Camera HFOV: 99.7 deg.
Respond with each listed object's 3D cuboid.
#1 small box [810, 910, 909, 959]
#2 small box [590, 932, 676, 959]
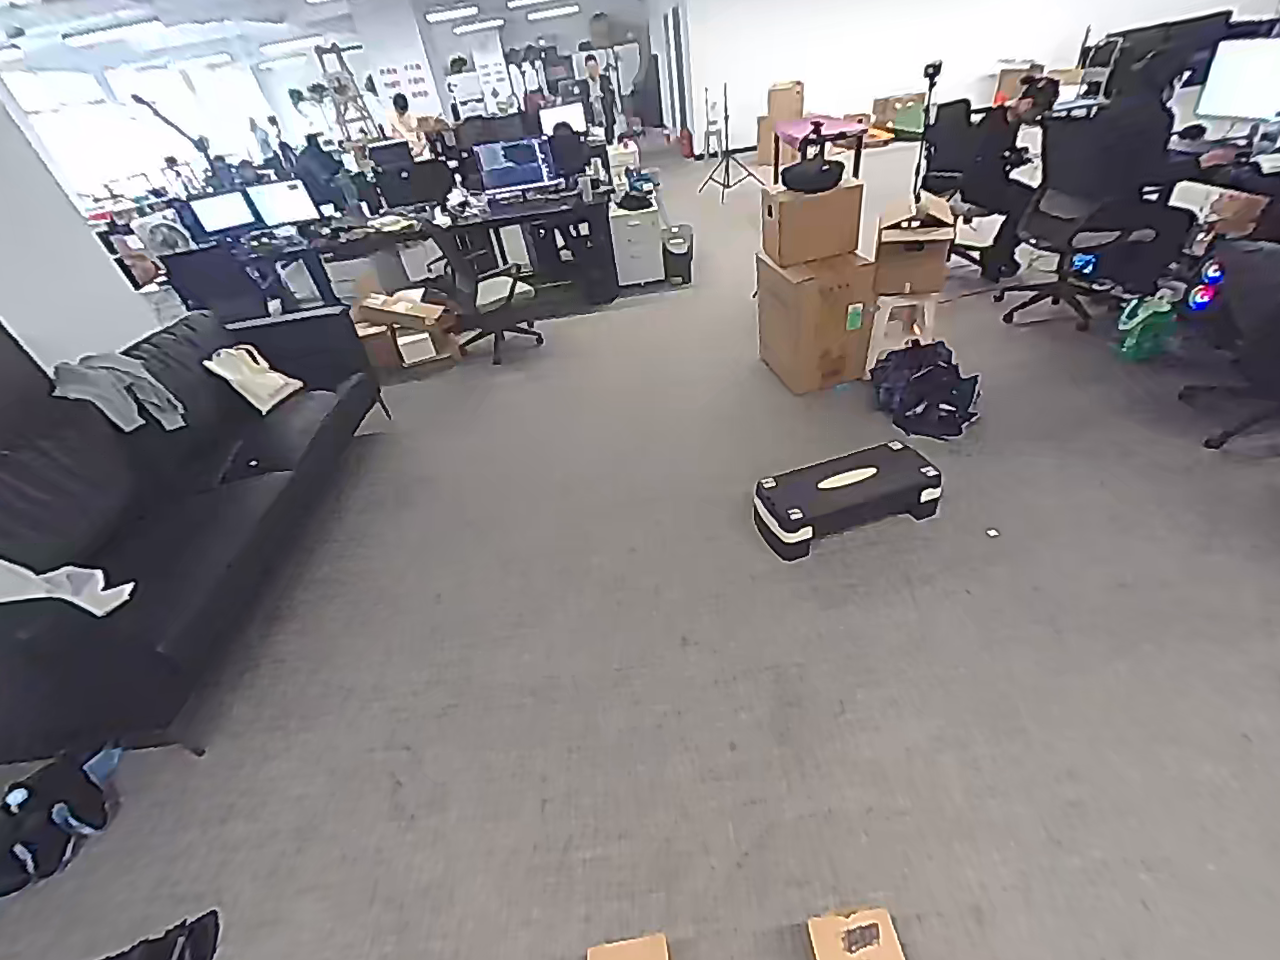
[{"bbox_3d":[0.438,0.981,1.055,0.168,0.176,0.179,-10,37,3],"label":"small box"},{"bbox_3d":[-0.001,1.052,1.084,0.168,0.176,0.179,-10,36,-1],"label":"small box"}]
